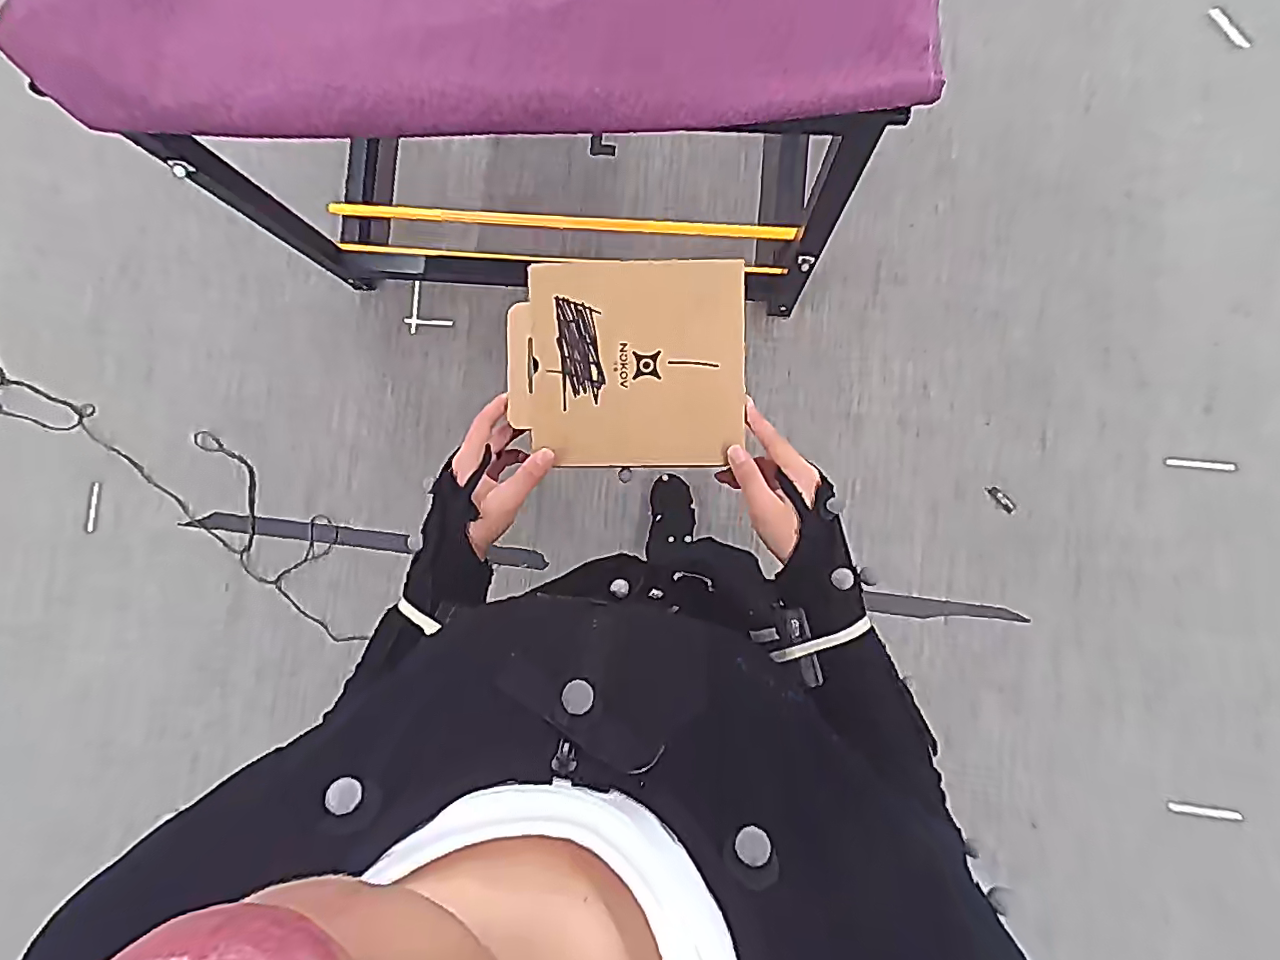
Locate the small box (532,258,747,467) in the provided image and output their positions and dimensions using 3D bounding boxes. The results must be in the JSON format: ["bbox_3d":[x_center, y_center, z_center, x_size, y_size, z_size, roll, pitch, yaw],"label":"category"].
[{"bbox_3d":[0.002,-0.097,0.517,0.179,0.176,0.168,0,91,1],"label":"small box"}]
